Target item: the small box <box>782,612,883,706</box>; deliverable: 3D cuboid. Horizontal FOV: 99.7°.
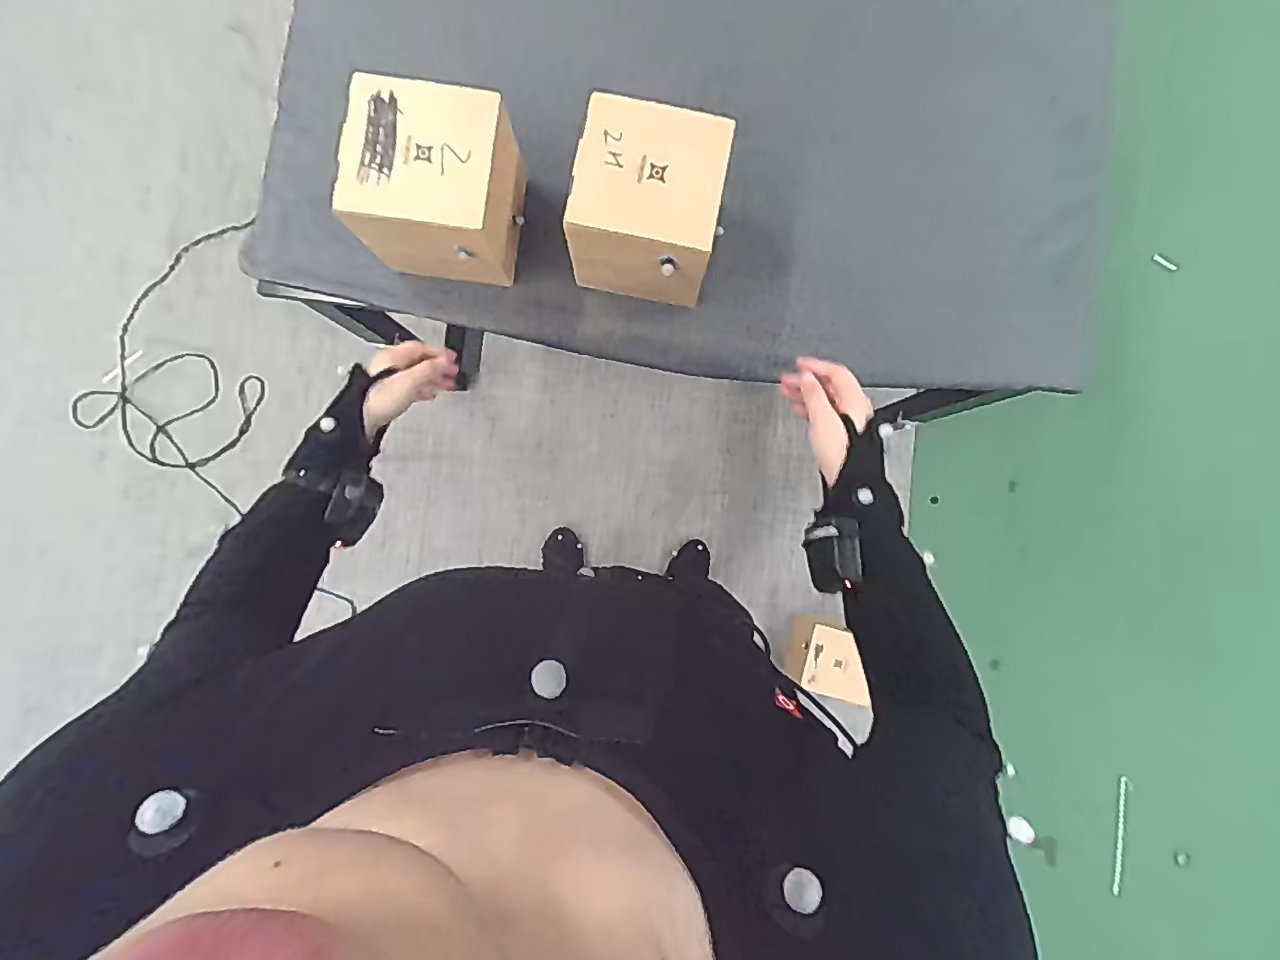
[{"bbox_3d":[0.493,0.455,1.404,0.179,0.176,0.168,16,88,0],"label":"small box"}]
